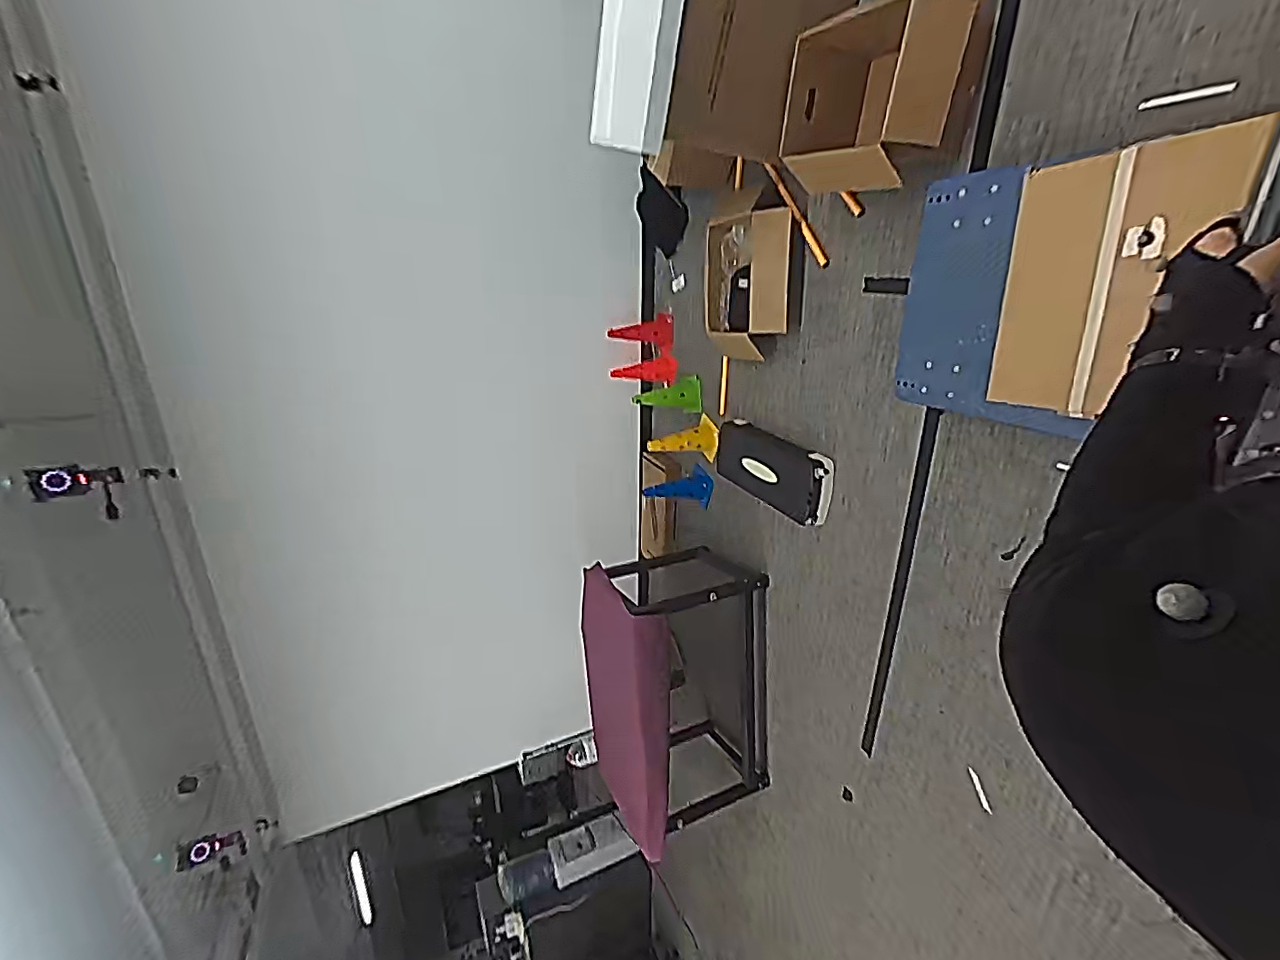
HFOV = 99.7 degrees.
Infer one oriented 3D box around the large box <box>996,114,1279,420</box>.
[{"bbox_3d":[0.887,-0.326,0.927,0.320,0.320,0.408,28,122,60],"label":"large box"}]
